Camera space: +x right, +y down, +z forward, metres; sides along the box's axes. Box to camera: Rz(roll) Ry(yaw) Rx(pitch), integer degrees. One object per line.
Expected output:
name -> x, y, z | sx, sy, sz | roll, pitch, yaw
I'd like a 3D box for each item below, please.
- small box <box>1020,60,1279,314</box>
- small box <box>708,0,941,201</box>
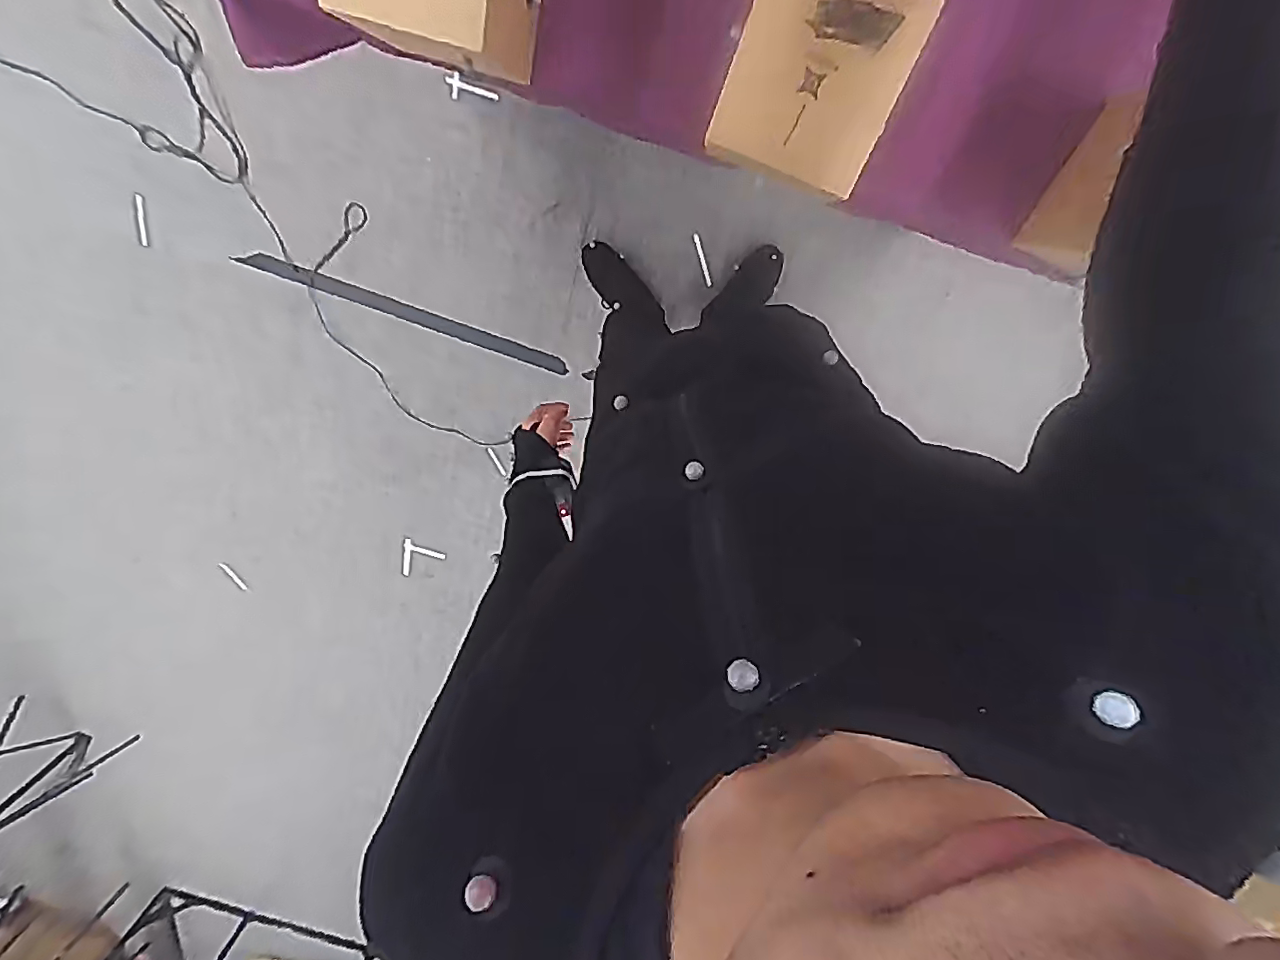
small box -> 0.581, -0.312, 0.601 | 0.168, 0.176, 0.179 | 24, 117, -4
small box -> 0.182, -0.430, 0.598 | 0.168, 0.176, 0.179 | 21, 118, -3
